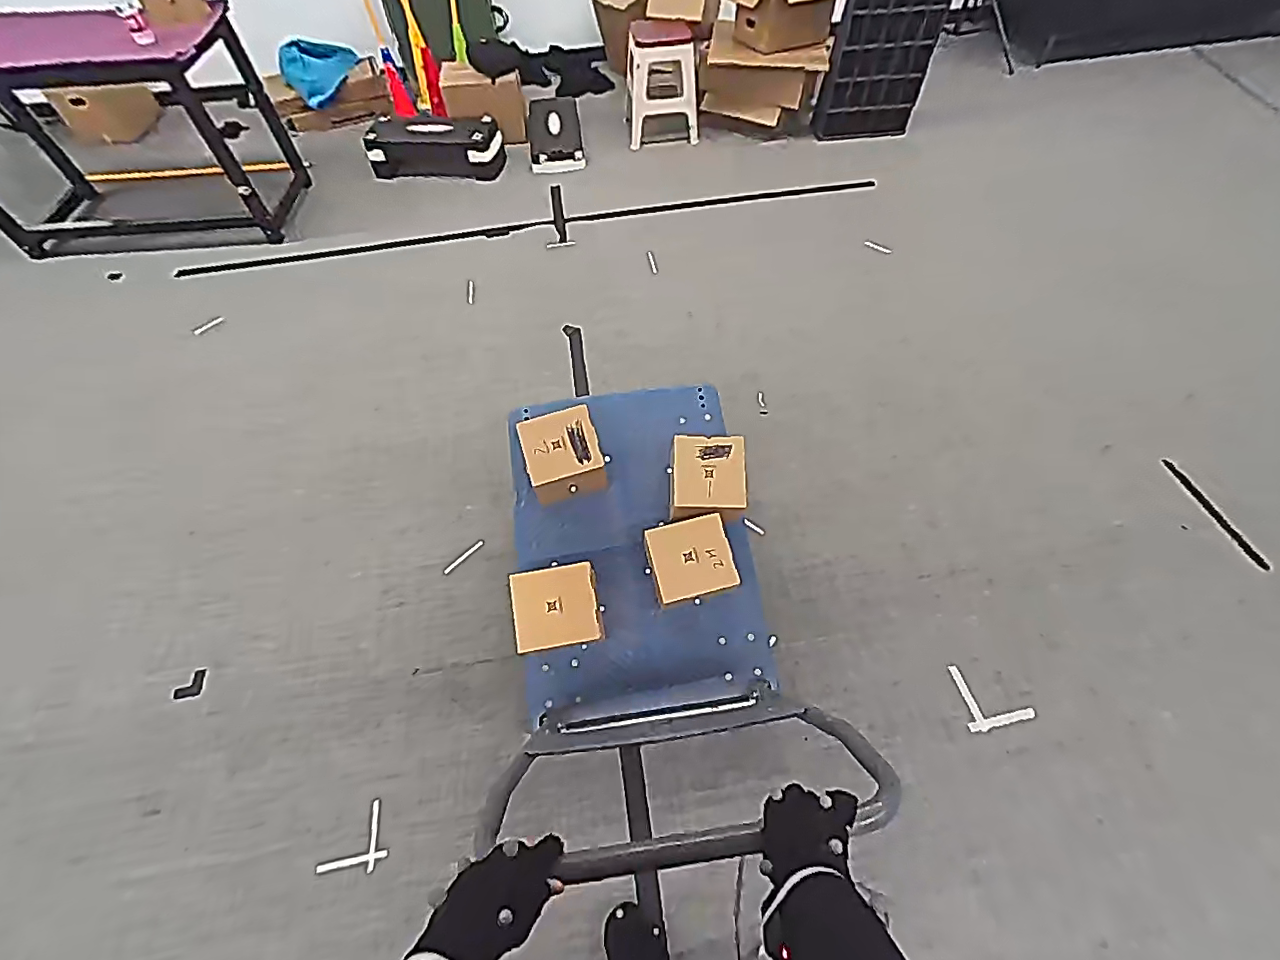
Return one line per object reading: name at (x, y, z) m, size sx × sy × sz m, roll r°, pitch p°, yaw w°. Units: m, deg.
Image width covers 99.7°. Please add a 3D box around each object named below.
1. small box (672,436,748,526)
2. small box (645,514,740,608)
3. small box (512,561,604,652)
small box at (0.164, 0.006, 1.314) m, size 0.168 × 0.176 × 0.179 m, roll 2°, pitch 72°, yaw 1°
small box at (0.115, 0.194, 1.252) m, size 0.179 × 0.176 × 0.168 m, roll -13°, pitch 73°, yaw -4°
small box at (-0.180, 0.291, 1.221) m, size 0.179 × 0.176 × 0.168 m, roll -9°, pitch 72°, yaw -5°
